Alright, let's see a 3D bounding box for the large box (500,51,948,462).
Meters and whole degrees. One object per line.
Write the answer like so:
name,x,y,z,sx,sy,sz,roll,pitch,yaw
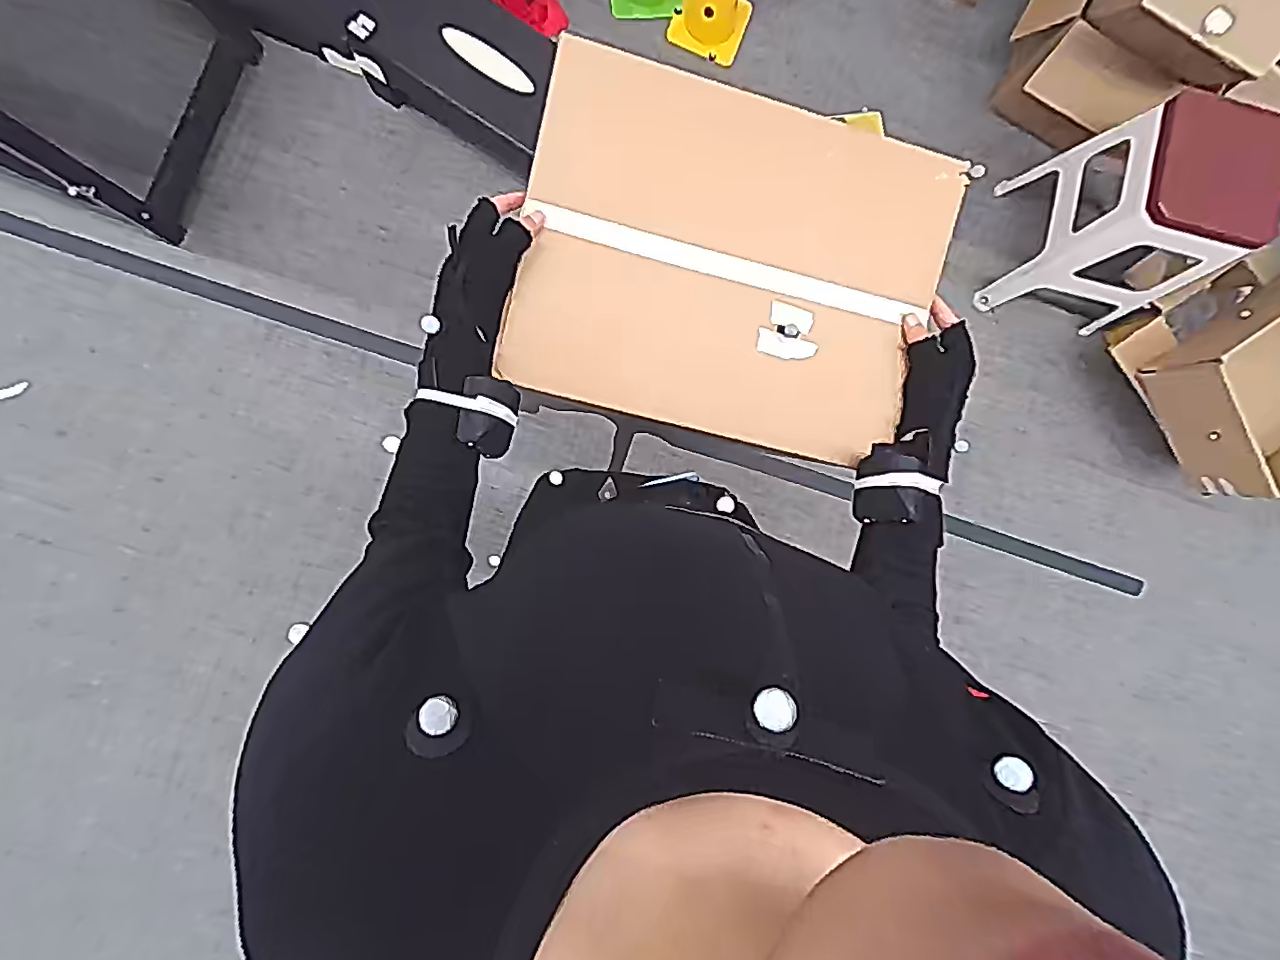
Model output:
large box,0.070,-0.222,0.678,0.408,0.320,0.320,13,96,-8
